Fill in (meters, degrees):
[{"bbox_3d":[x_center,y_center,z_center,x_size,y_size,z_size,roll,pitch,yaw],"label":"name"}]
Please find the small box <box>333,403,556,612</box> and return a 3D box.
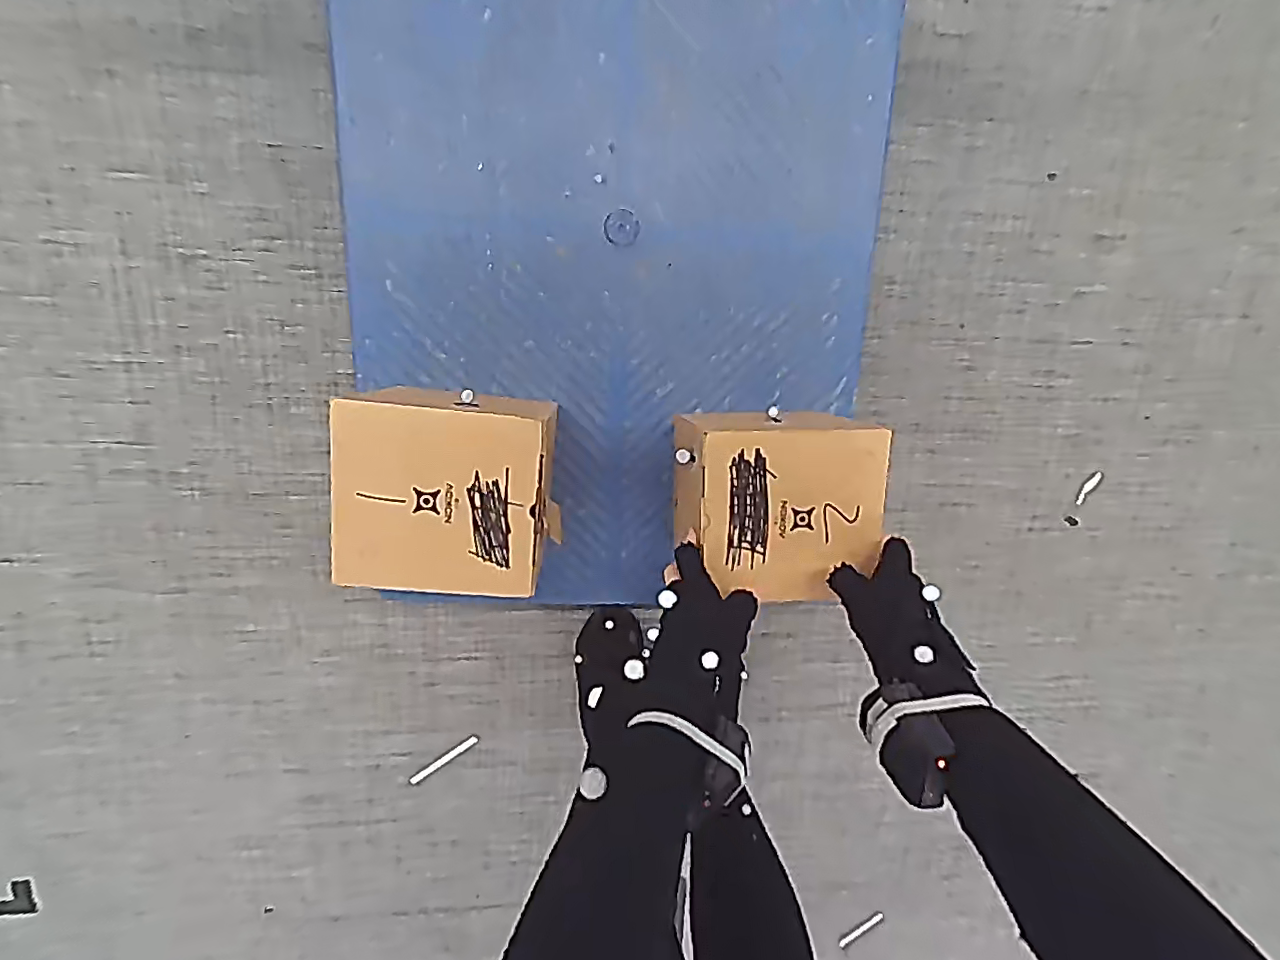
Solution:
[{"bbox_3d":[-0.180,0.016,0.542,0.179,0.176,0.168,5,102,-6],"label":"small box"}]
